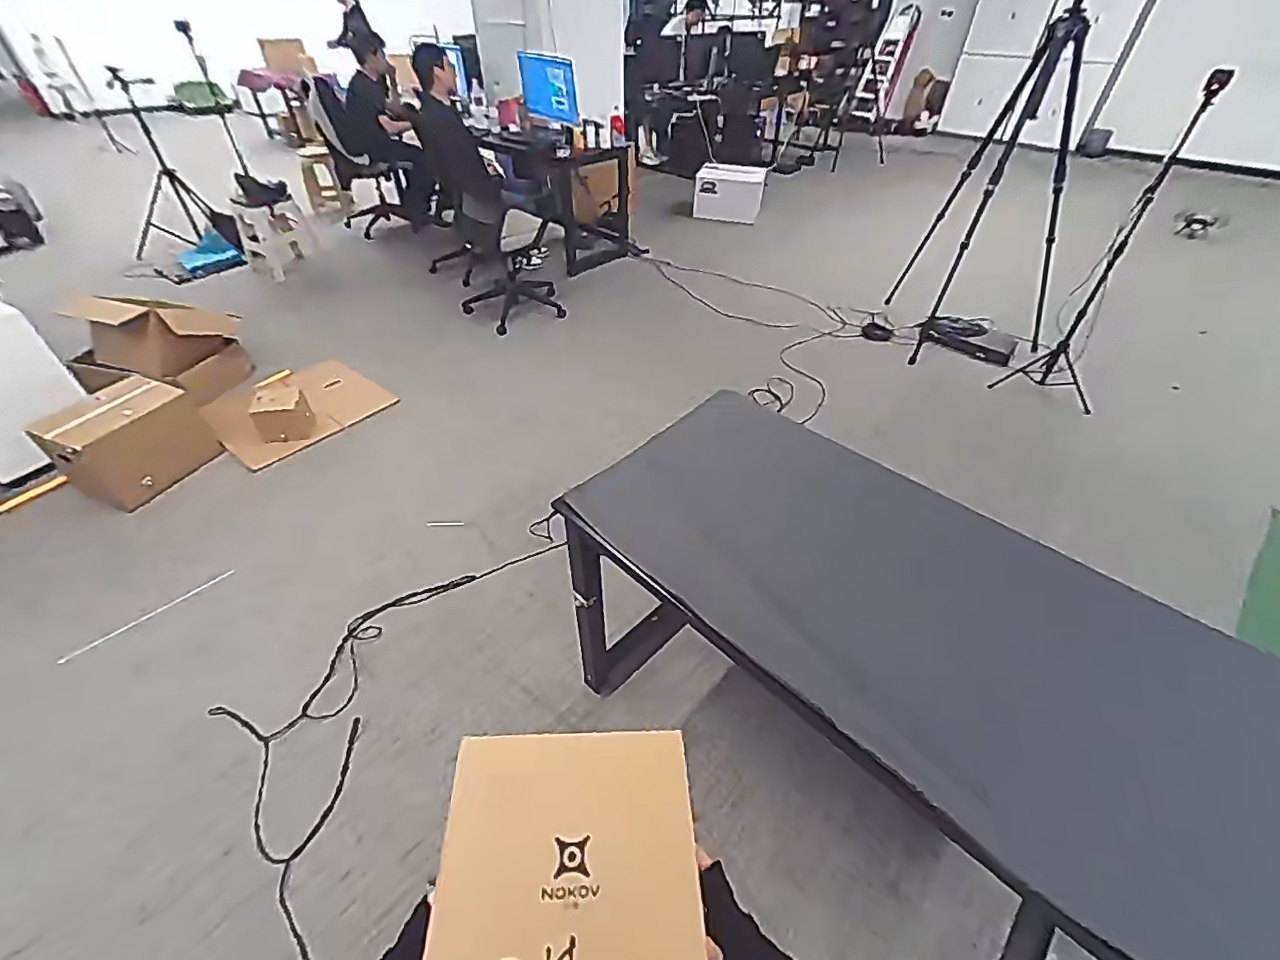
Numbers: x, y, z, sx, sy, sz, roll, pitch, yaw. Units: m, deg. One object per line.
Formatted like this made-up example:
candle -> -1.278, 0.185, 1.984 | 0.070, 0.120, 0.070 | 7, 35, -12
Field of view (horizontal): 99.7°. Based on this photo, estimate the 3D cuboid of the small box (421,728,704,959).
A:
small box -> -0.052, 0.306, 0.399 | 0.168, 0.176, 0.179 | 0, 44, -5
